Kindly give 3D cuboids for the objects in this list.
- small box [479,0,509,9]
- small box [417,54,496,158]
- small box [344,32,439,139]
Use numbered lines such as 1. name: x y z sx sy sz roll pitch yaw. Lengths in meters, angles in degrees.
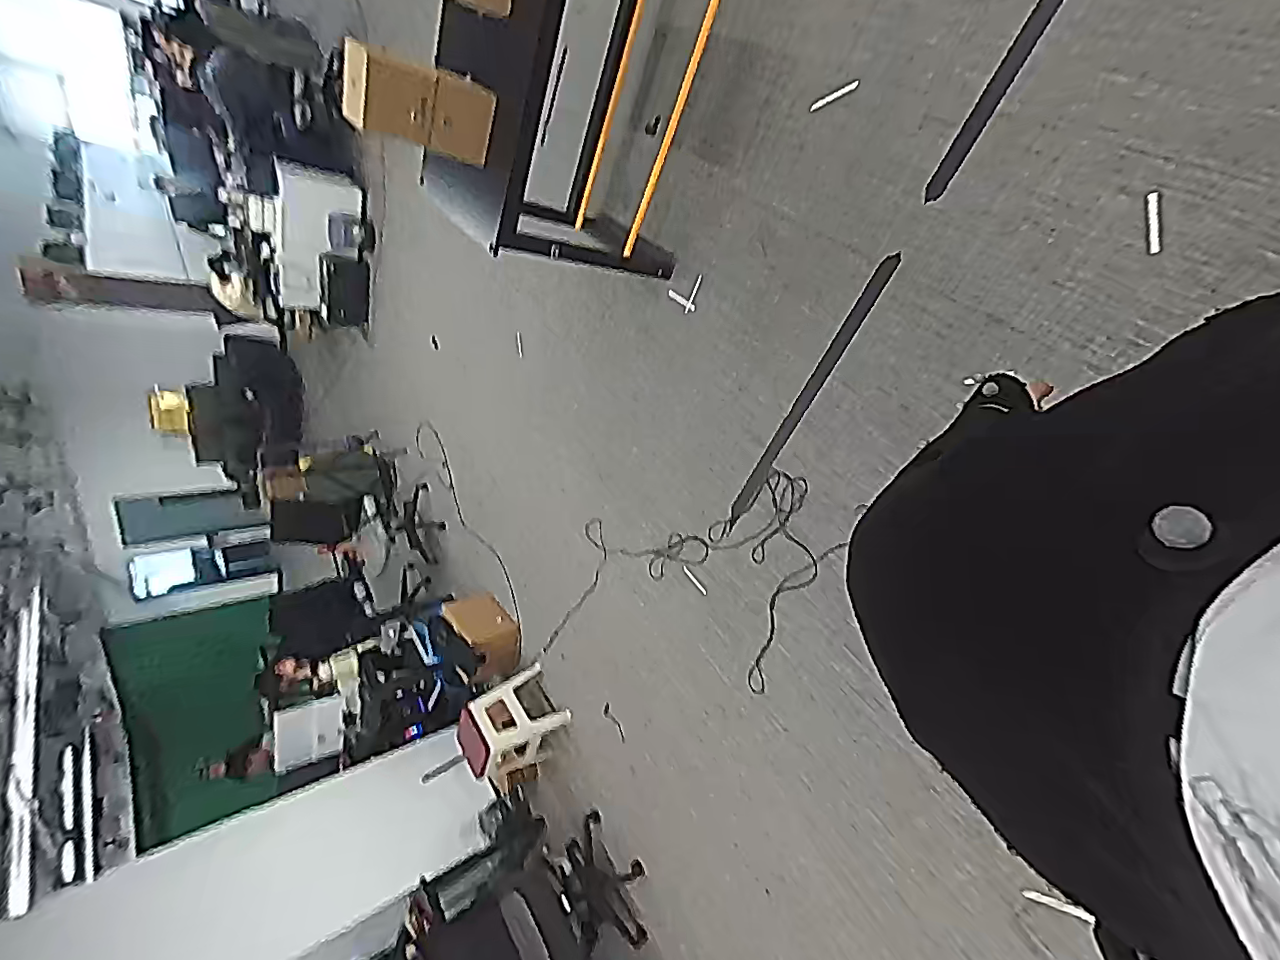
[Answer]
1. small box: -0.407 -1.293 1.321 0.179 0.176 0.168 46 128 33
2. small box: -0.515 -1.020 1.486 0.168 0.176 0.179 48 128 32
3. small box: -0.635 -0.999 1.379 0.179 0.176 0.168 47 129 32
